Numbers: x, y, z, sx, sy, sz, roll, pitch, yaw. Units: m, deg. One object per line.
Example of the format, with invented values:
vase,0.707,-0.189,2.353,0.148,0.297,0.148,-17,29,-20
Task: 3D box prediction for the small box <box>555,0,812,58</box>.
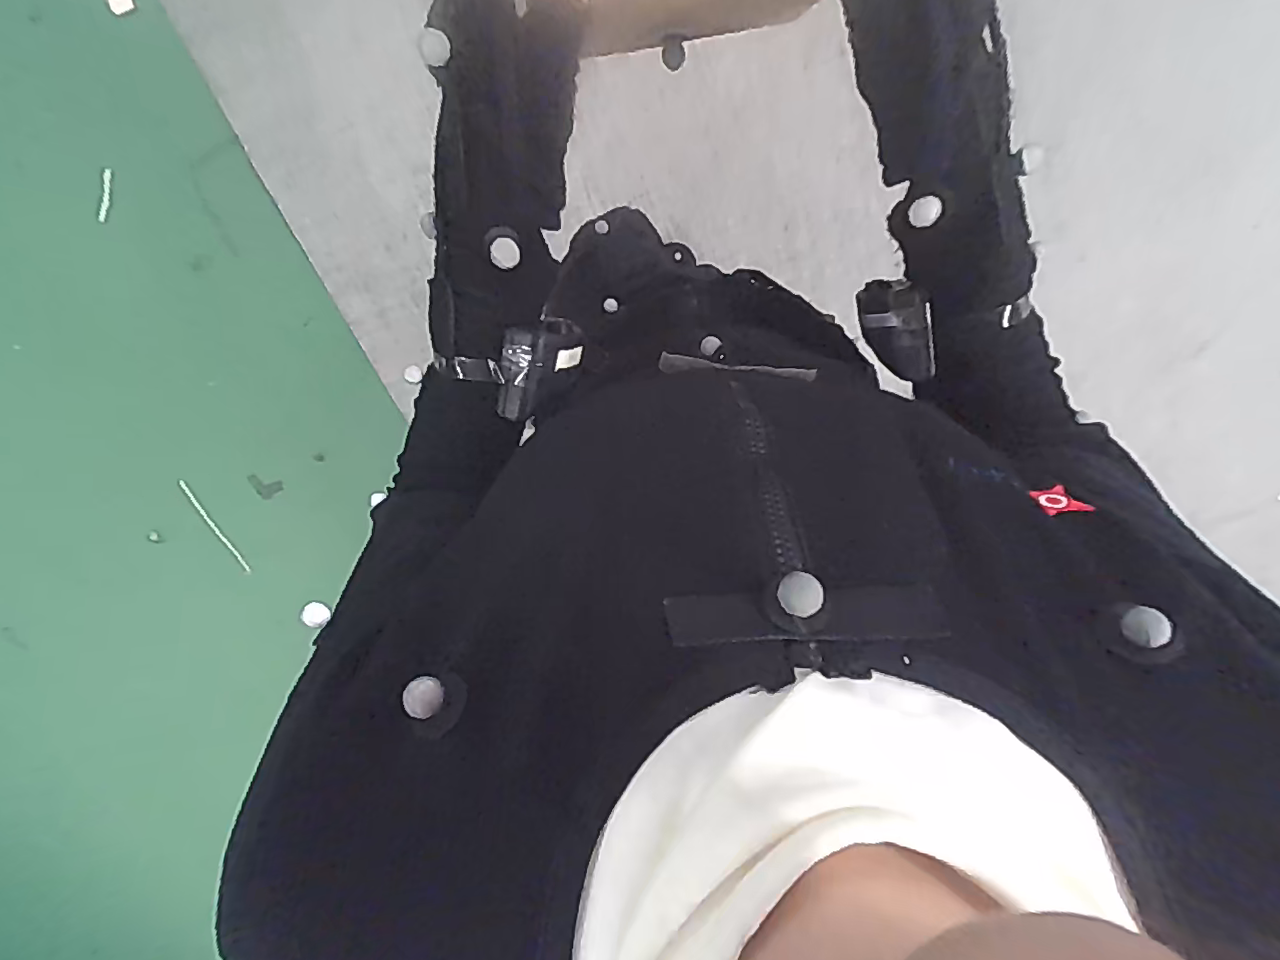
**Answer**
small box,0.020,-0.350,0.275,0.168,0.176,0.179,-8,120,3
